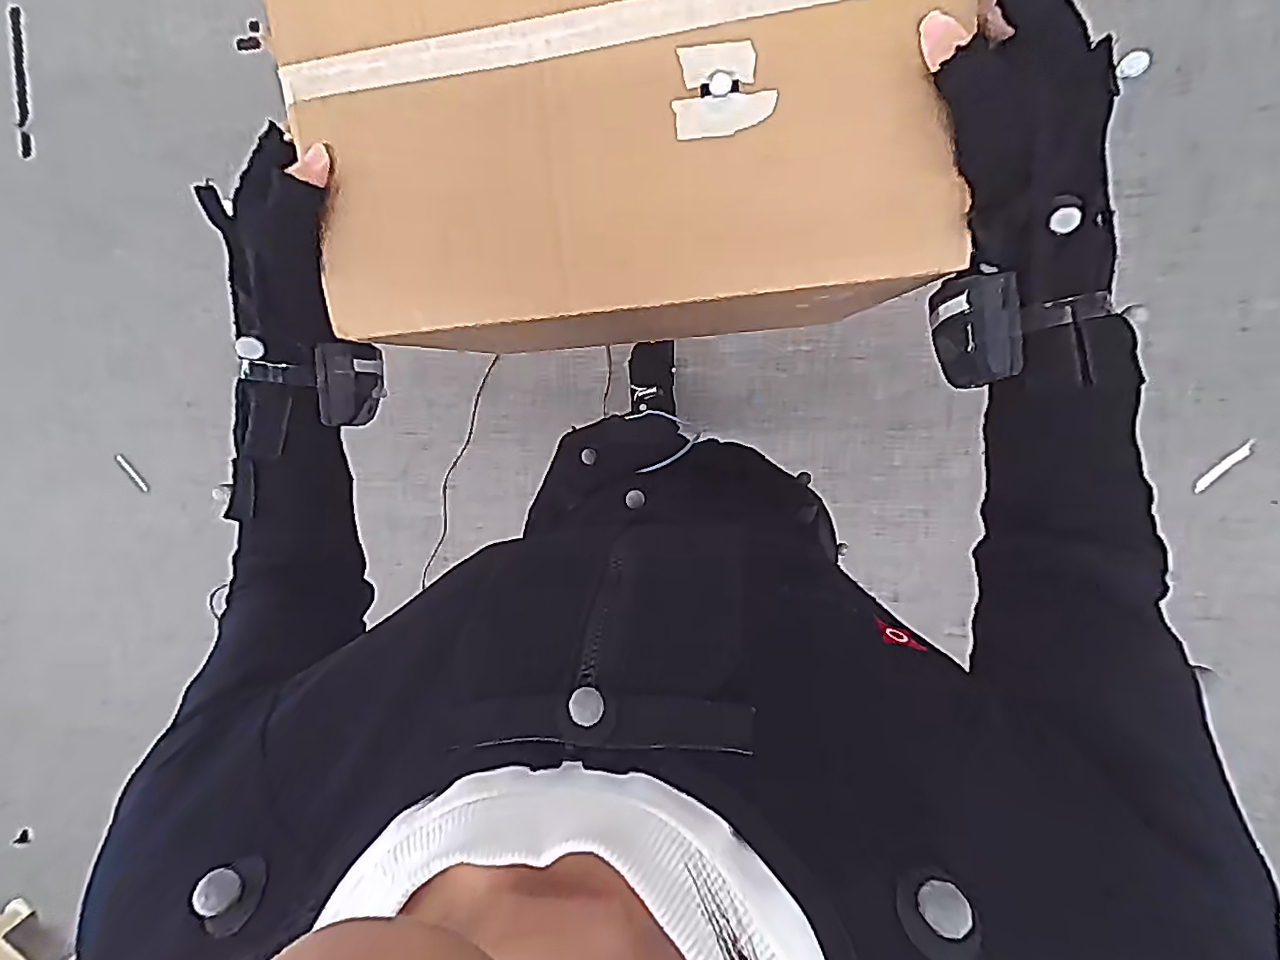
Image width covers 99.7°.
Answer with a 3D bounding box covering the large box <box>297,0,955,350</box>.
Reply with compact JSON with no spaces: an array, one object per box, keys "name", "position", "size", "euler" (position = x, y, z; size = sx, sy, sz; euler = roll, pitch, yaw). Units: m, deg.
[{"name":"large box","position":[-0.005,-0.300,0.475],"size":[0.408,0.320,0.320],"euler":[-5,101,7]}]
